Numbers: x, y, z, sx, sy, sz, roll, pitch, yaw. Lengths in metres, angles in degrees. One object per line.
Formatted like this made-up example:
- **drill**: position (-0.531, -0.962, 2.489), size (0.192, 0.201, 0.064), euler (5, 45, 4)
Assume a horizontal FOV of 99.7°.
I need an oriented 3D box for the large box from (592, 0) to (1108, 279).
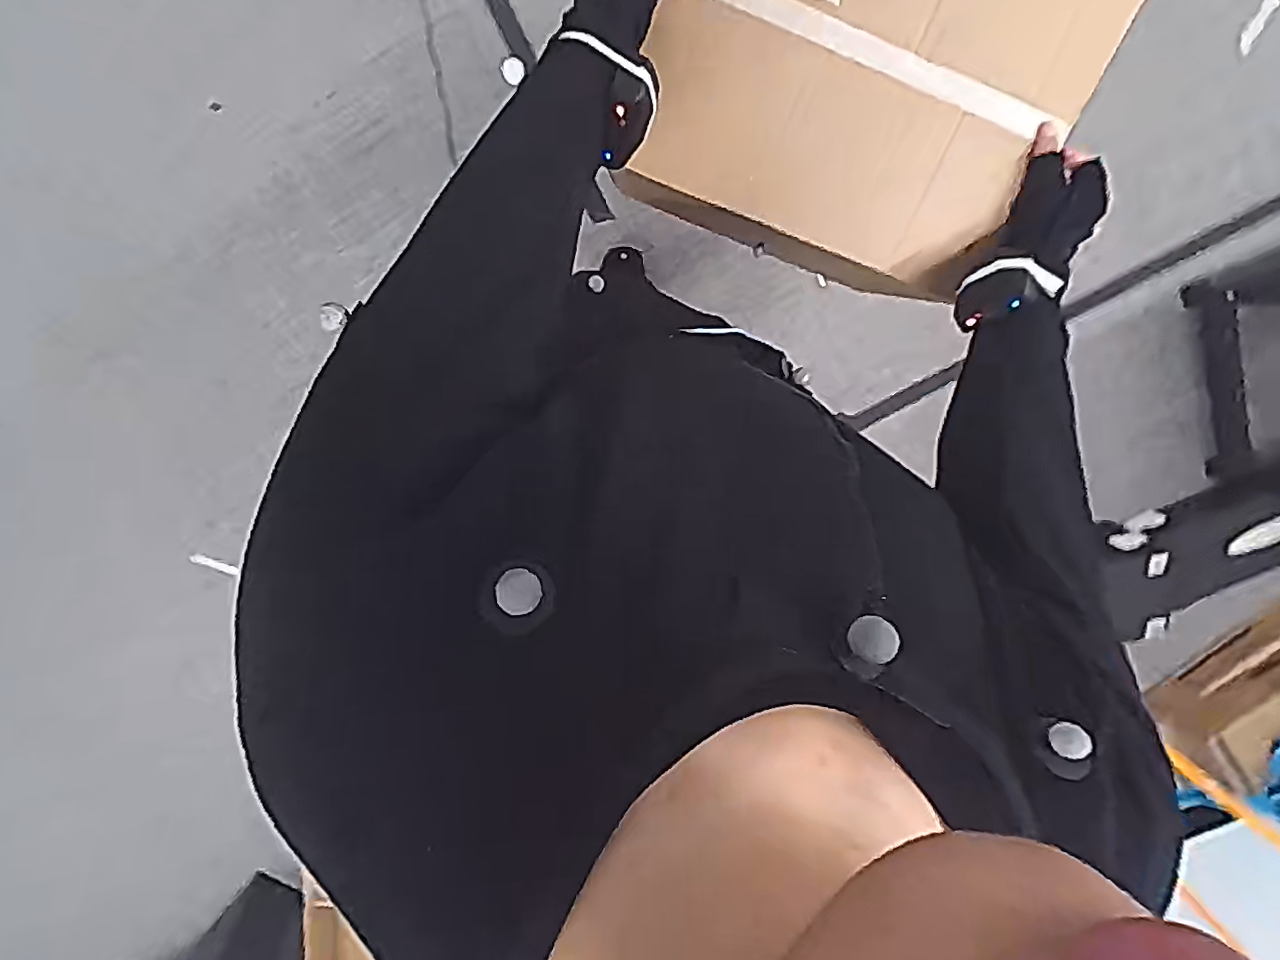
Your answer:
- **large box**: position (0.195, -0.454, 0.619), size (0.408, 0.320, 0.320), euler (19, 111, -5)
